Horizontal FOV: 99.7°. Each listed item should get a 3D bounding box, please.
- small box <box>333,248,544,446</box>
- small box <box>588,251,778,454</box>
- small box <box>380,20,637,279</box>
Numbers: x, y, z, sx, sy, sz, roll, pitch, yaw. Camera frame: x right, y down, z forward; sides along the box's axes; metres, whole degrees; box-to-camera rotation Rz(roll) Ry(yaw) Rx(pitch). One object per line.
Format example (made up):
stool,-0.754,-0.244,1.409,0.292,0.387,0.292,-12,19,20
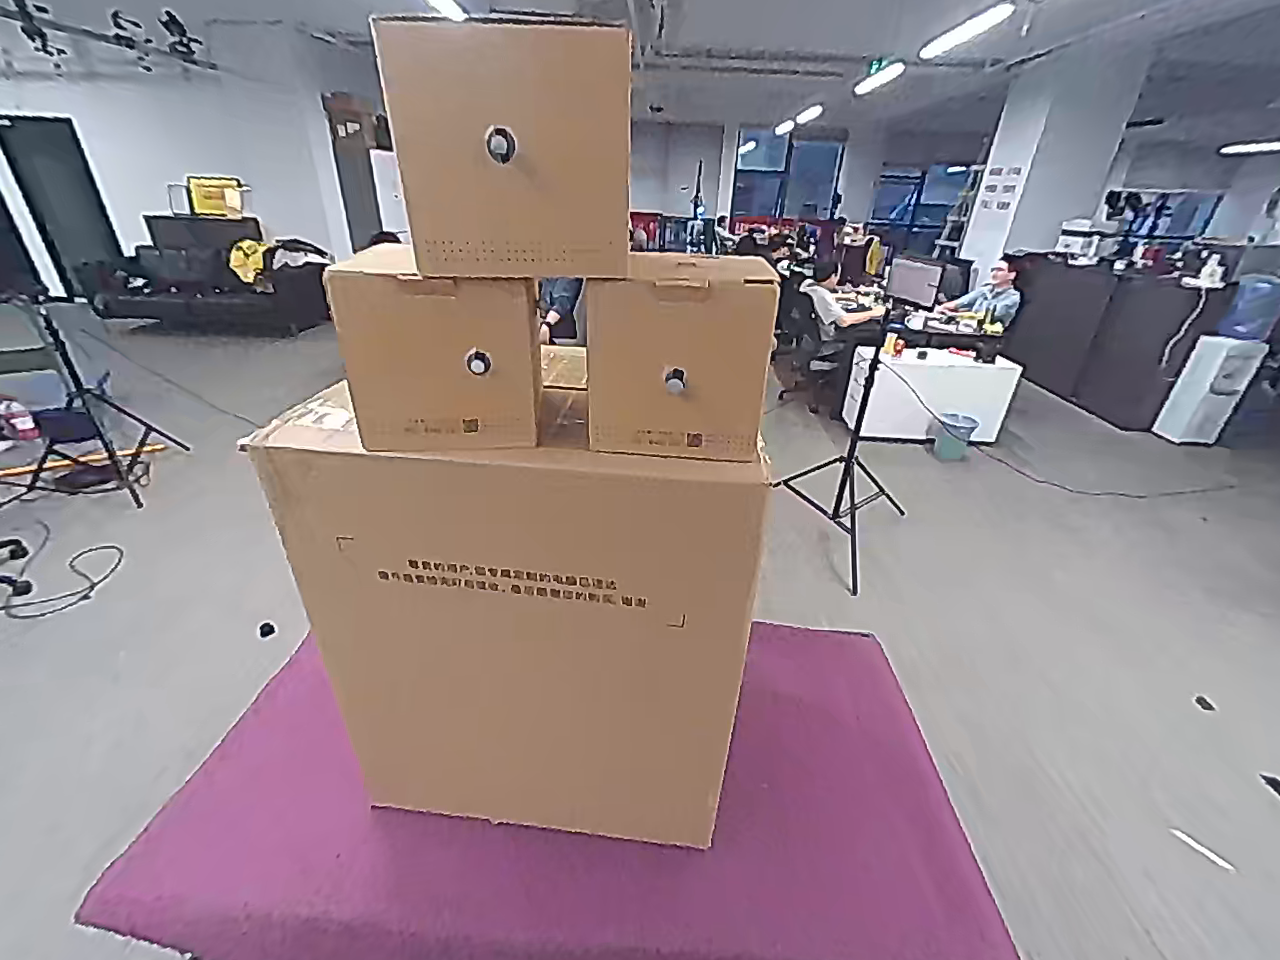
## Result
small box,-0.189,-0.143,0.568,0.168,0.176,0.179,-1,28,-8
small box,0.044,-0.138,0.568,0.168,0.176,0.179,5,30,4
small box,-0.094,-0.279,0.478,0.179,0.176,0.168,-1,30,-2
